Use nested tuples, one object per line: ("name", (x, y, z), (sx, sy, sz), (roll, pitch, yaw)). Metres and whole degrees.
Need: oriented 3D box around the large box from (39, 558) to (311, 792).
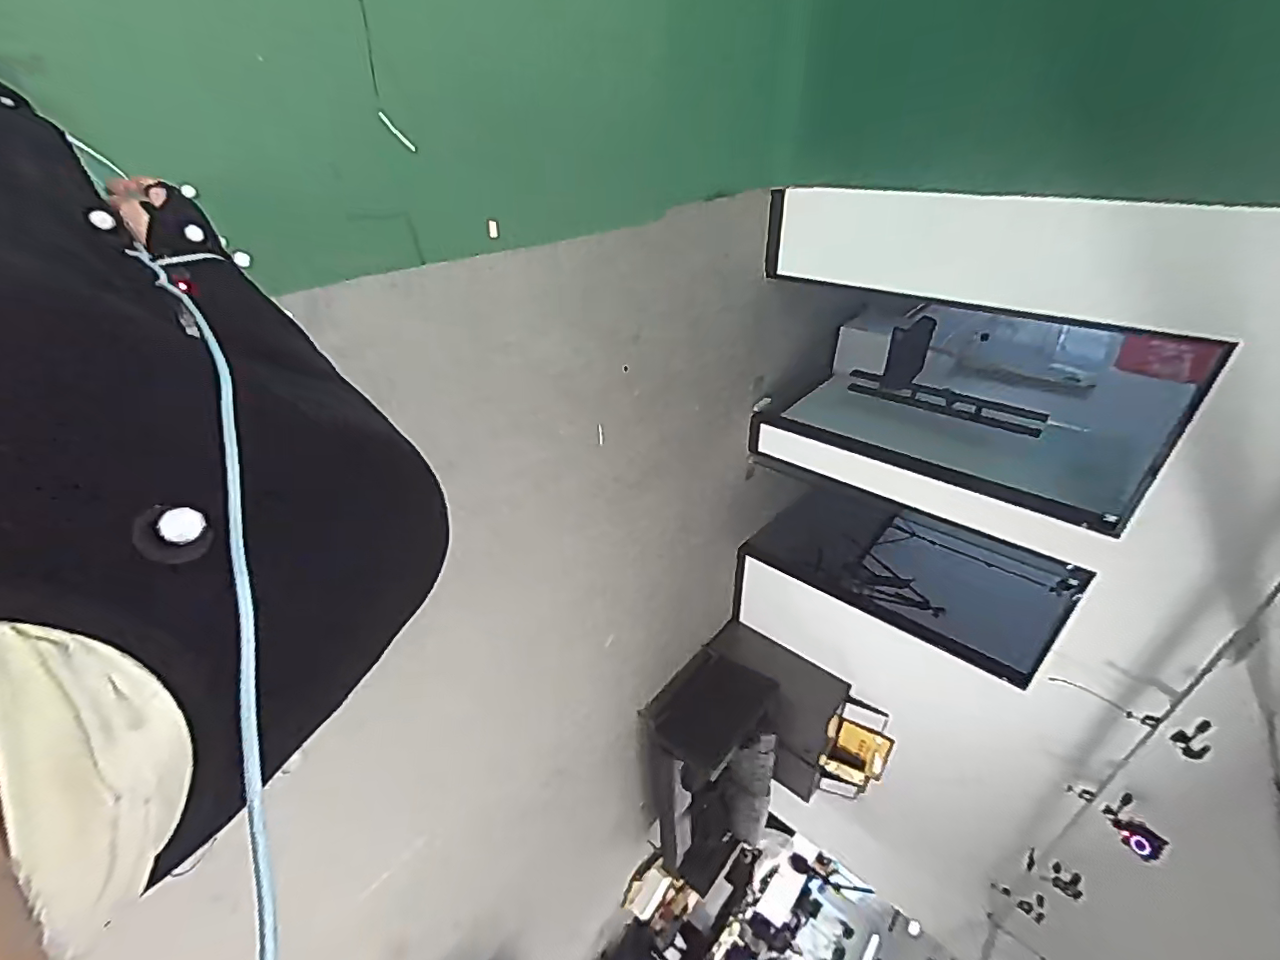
("large box", (-1.170, 0.476, 1.393), (0.408, 0.320, 0.320), (-36, 136, -38))
